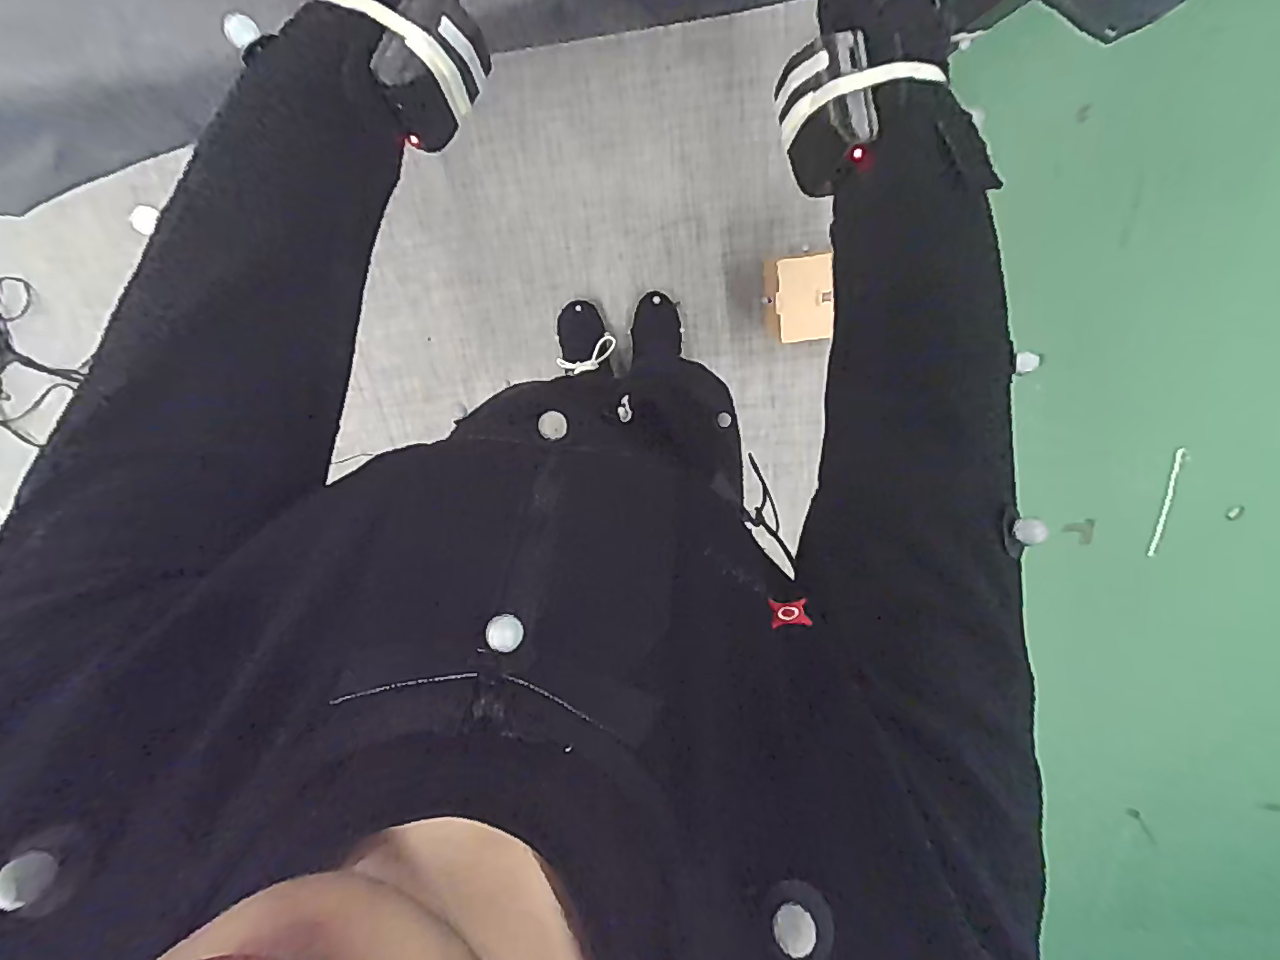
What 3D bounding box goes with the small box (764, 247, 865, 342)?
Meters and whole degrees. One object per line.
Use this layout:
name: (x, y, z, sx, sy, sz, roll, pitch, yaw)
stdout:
small box: (0.365, -0.397, 1.157, 0.179, 0.176, 0.168, -7, 112, 5)
